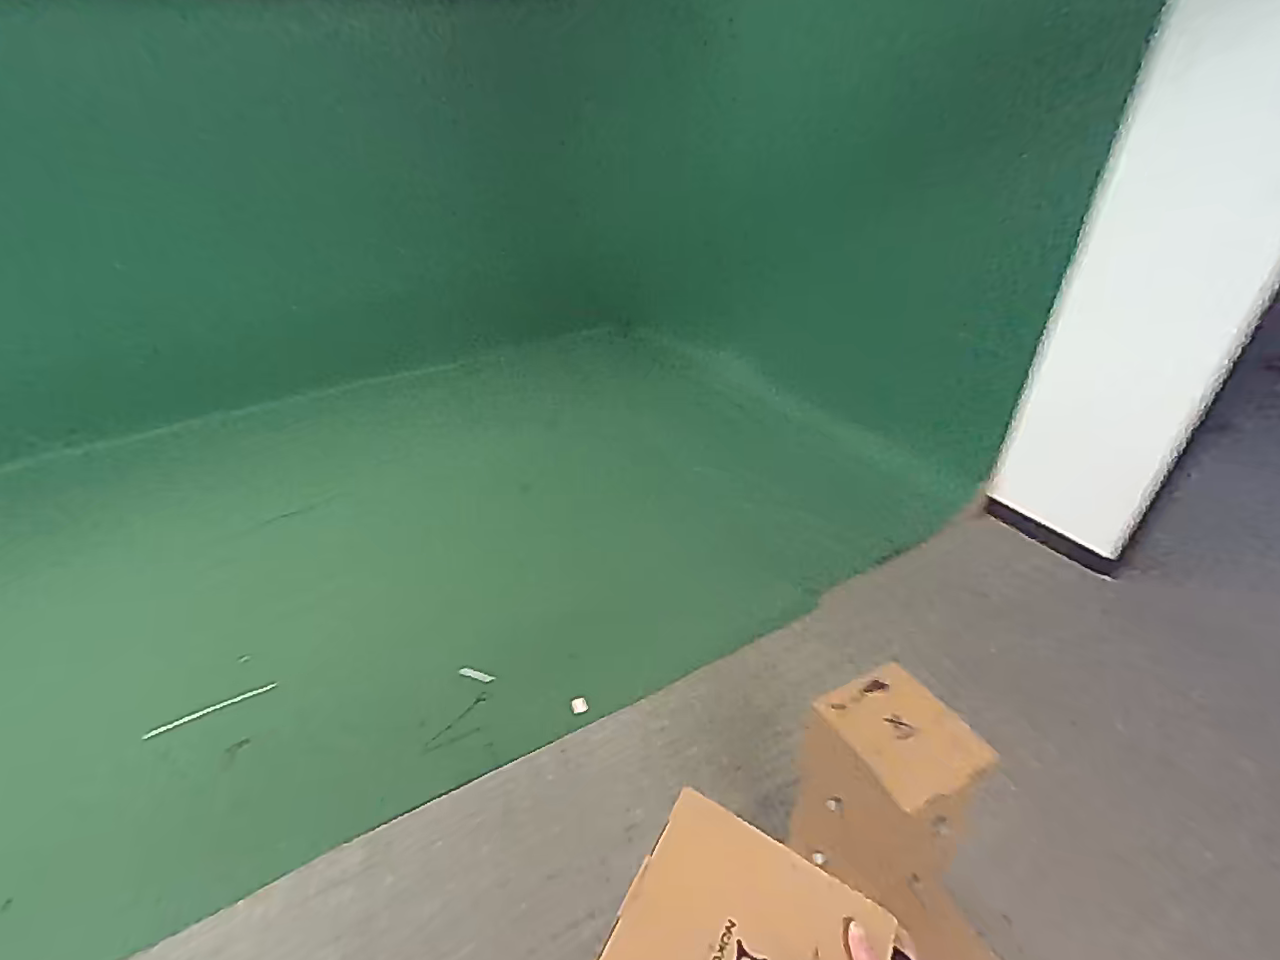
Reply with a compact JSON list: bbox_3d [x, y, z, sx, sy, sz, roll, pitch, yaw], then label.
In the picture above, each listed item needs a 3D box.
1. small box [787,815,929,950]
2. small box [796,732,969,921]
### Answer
[{"bbox_3d":[0.387,0.682,0.970,0.179,0.176,0.168,-16,36,-22],"label":"small box"},{"bbox_3d":[0.374,0.552,0.868,0.179,0.176,0.168,-15,35,-19],"label":"small box"}]
